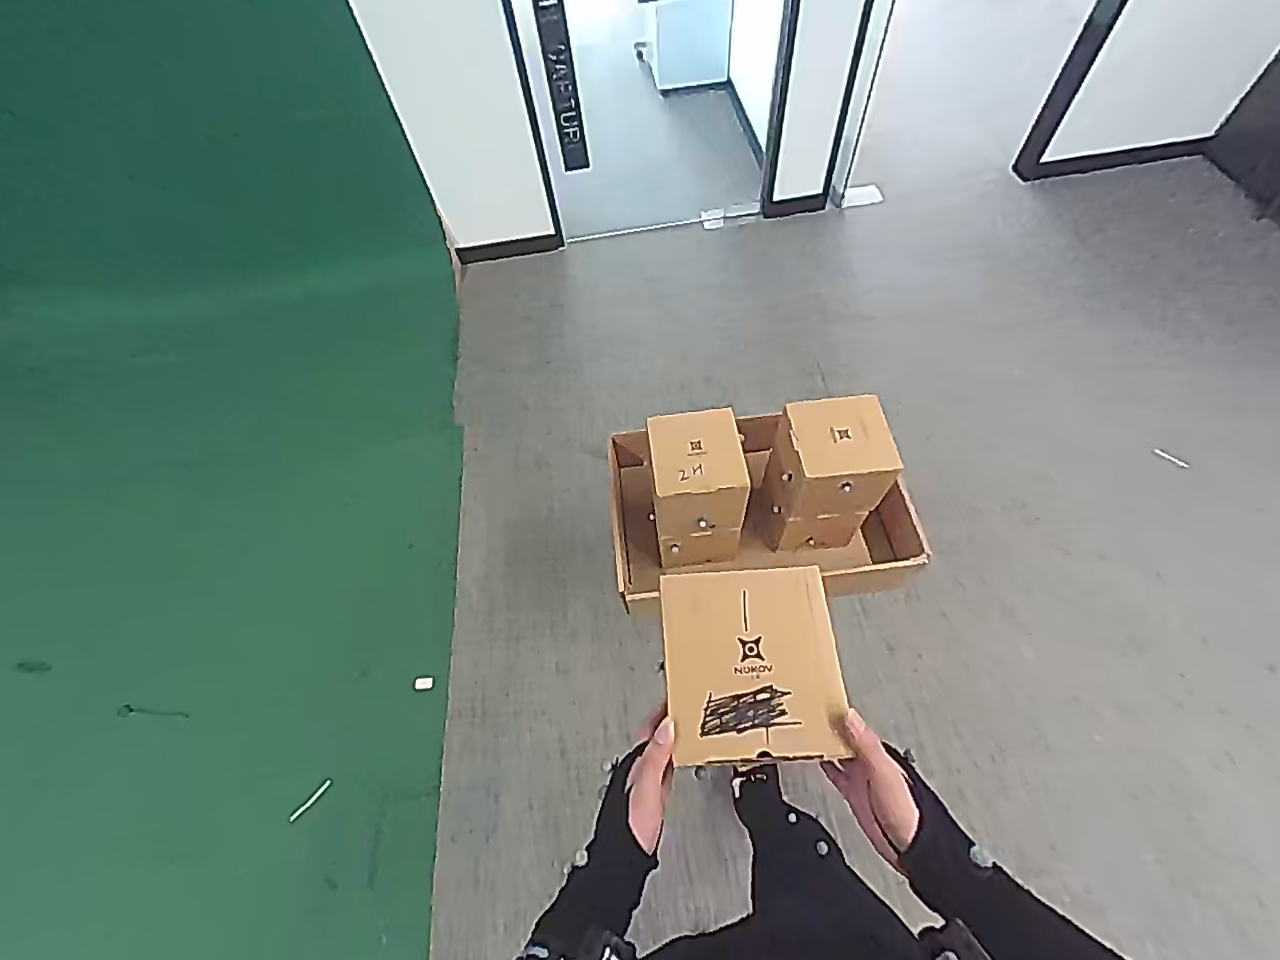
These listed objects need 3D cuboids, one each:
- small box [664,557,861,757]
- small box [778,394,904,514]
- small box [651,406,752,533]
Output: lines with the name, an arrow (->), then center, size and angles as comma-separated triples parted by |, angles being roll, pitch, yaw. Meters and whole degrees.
small box -> 0.113, 0.196, 0.580 | 0.168, 0.176, 0.179 | -3, 62, 0
small box -> 0.371, -0.043, 1.040 | 0.179, 0.176, 0.168 | -5, 61, 0
small box -> 0.110, -0.017, 1.038 | 0.168, 0.176, 0.179 | -7, 59, 1
